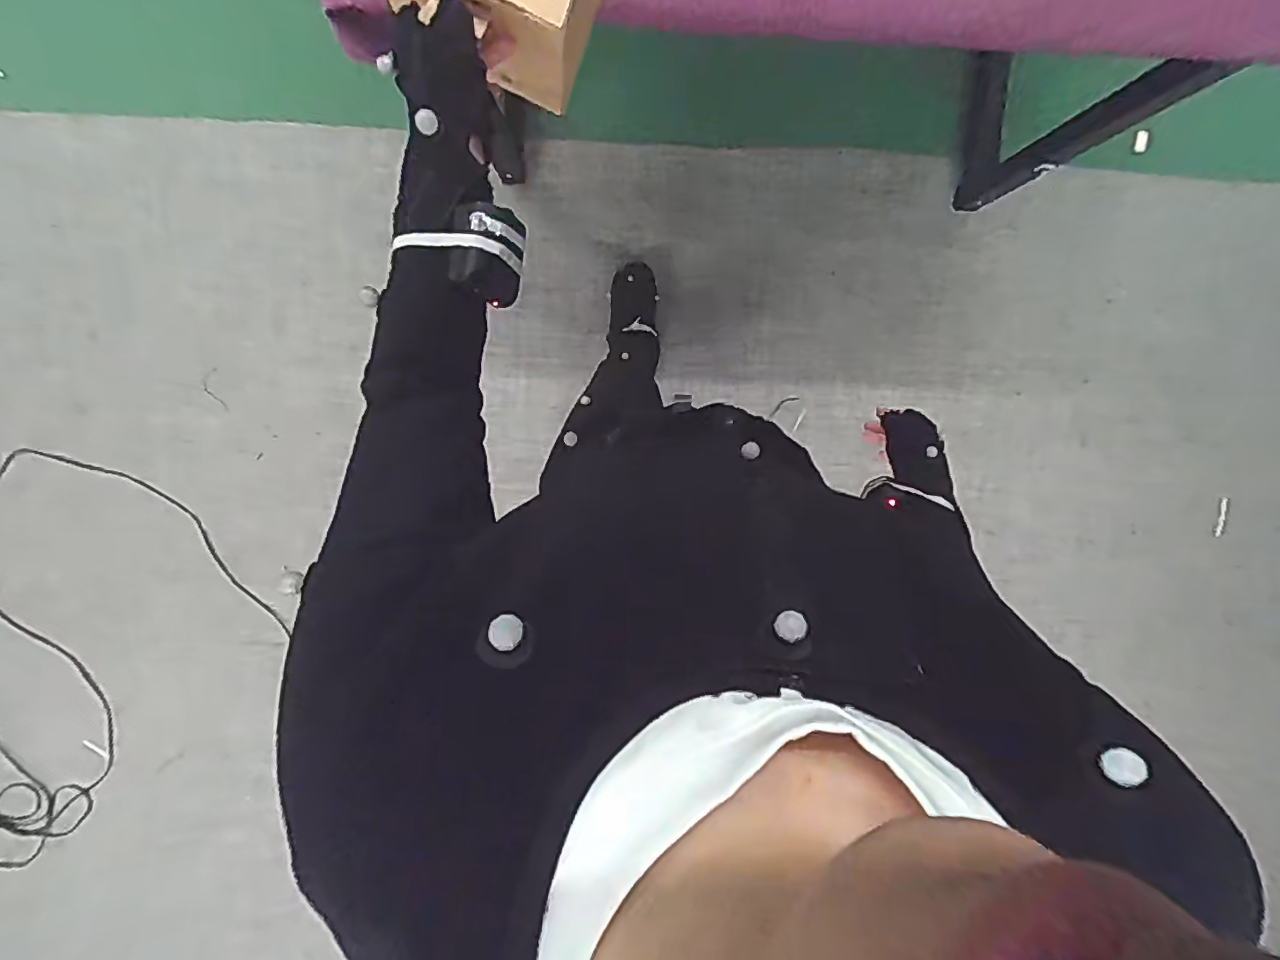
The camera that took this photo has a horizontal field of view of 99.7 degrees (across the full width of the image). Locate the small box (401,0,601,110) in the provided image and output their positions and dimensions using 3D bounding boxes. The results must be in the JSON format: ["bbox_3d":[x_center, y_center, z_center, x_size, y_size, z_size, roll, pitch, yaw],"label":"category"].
[{"bbox_3d":[-0.116,-0.479,0.477,0.168,0.176,0.179,19,103,-13],"label":"small box"}]
